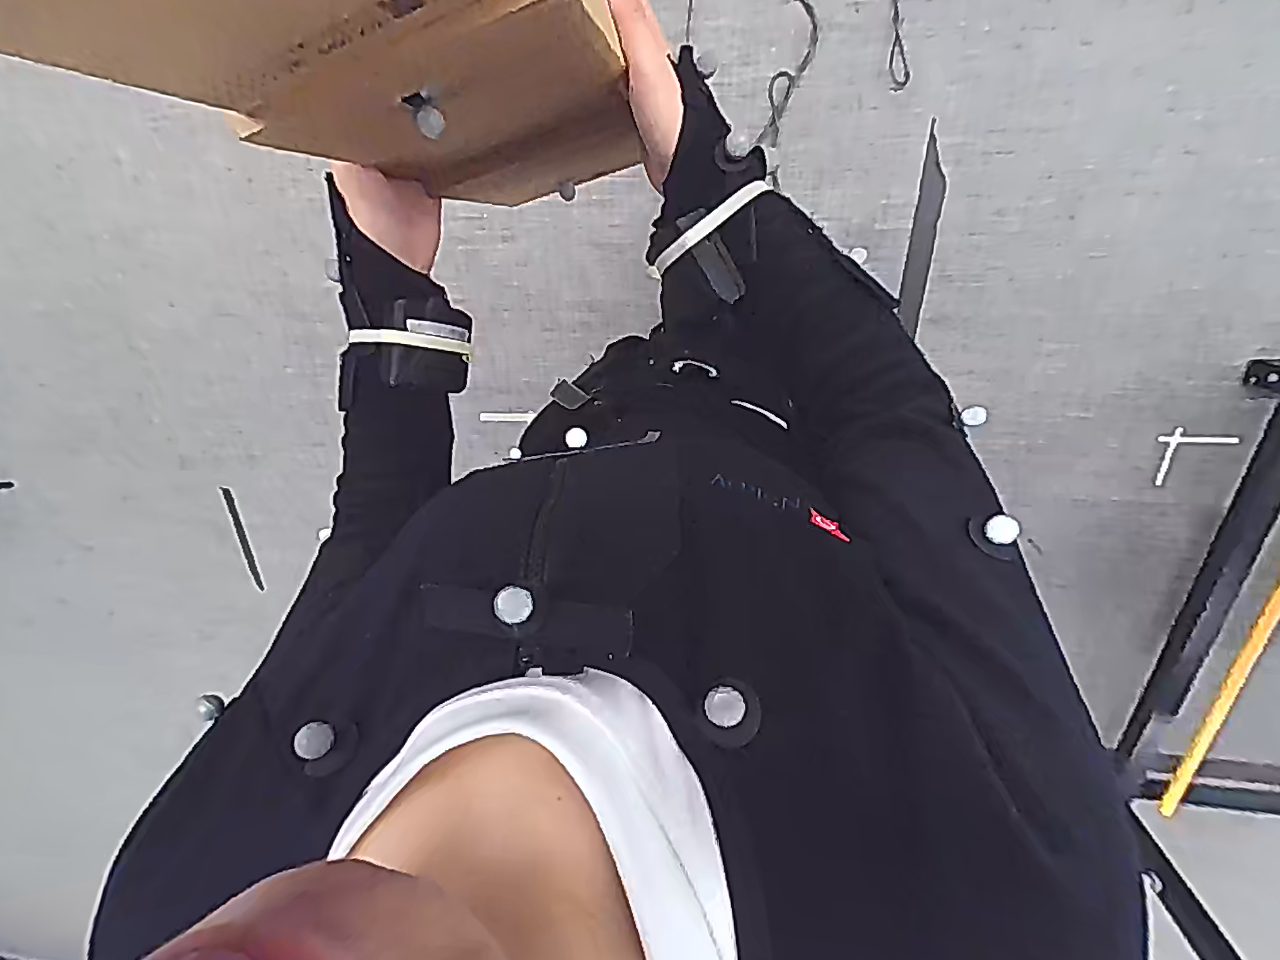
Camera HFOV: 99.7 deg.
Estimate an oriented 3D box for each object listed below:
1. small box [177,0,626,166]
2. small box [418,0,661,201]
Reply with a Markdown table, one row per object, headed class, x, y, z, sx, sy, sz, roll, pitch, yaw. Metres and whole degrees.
| class | x | y | z | sx | sy | sz | roll | pitch | yaw |
| --- | --- | --- | --- | --- | --- | --- | --- | --- | --- |
| small box | -0.114 | -0.282 | 0.275 | 0.179 | 0.176 | 0.168 | -11 | 111 | 16 |
| small box | -0.088 | -0.338 | 0.425 | 0.168 | 0.176 | 0.179 | -10 | 112 | 15 |
